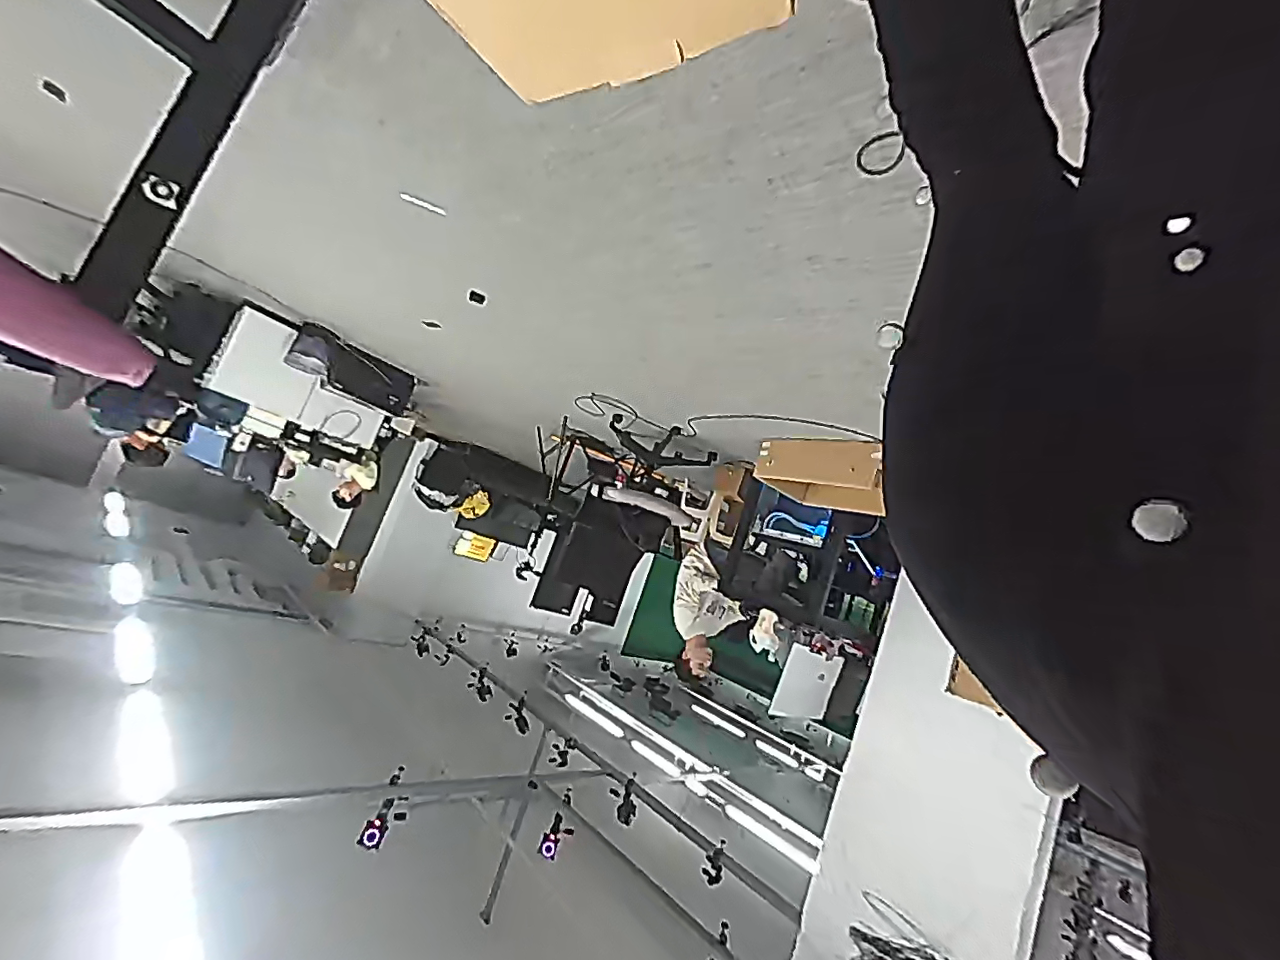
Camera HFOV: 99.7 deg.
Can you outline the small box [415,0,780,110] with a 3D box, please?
[{"bbox_3d":[-0.040,-0.307,0.221,0.168,0.179,0.176,0,-176,23],"label":"small box"}]
